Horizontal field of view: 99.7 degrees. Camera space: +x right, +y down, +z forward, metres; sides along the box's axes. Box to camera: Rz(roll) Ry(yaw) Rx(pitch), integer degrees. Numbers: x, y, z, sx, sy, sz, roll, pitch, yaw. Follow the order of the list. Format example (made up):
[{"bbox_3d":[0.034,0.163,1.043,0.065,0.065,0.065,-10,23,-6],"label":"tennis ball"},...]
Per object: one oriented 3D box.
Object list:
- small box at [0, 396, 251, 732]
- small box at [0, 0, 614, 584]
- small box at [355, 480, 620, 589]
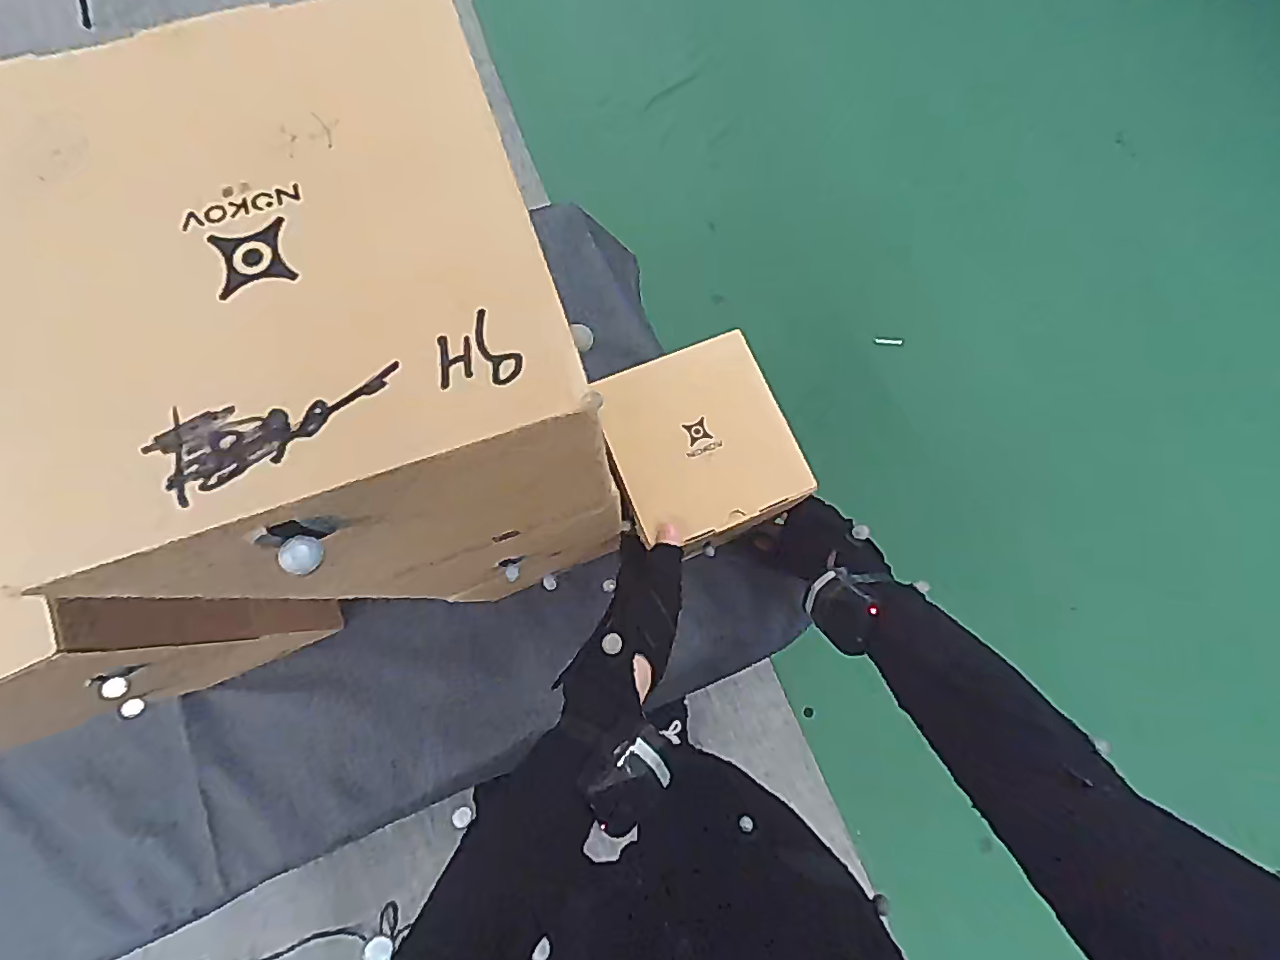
[{"bbox_3d":[-0.421,0.069,0.383,0.179,0.176,0.168,-25,78,-6],"label":"small box"},{"bbox_3d":[-0.115,-0.061,0.250,0.168,0.176,0.179,-18,78,-4],"label":"small box"},{"bbox_3d":[-0.117,-0.027,0.411,0.168,0.176,0.179,-20,78,-6],"label":"small box"}]
